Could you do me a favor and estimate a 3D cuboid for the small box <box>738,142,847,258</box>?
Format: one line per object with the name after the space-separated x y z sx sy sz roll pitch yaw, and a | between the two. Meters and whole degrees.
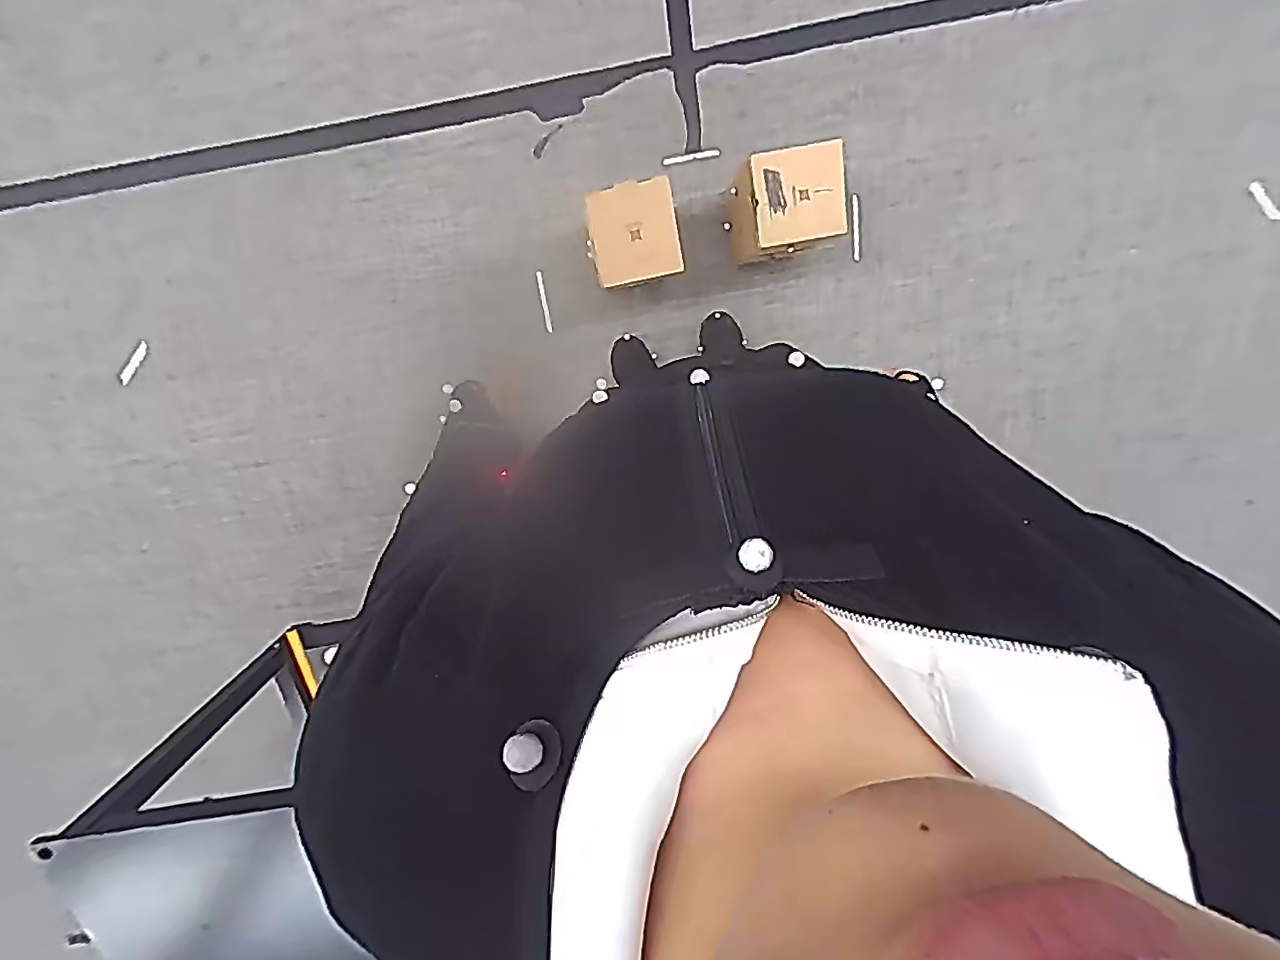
0.302 -0.559 1.102 0.179 0.176 0.168 -10 107 0 | small box

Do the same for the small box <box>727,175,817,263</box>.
0.303 -0.608 1.260 0.168 0.176 0.179 -8 108 0 | small box

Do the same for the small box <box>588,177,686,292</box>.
-0.006 -0.495 1.117 0.168 0.176 0.179 -11 108 4 | small box
